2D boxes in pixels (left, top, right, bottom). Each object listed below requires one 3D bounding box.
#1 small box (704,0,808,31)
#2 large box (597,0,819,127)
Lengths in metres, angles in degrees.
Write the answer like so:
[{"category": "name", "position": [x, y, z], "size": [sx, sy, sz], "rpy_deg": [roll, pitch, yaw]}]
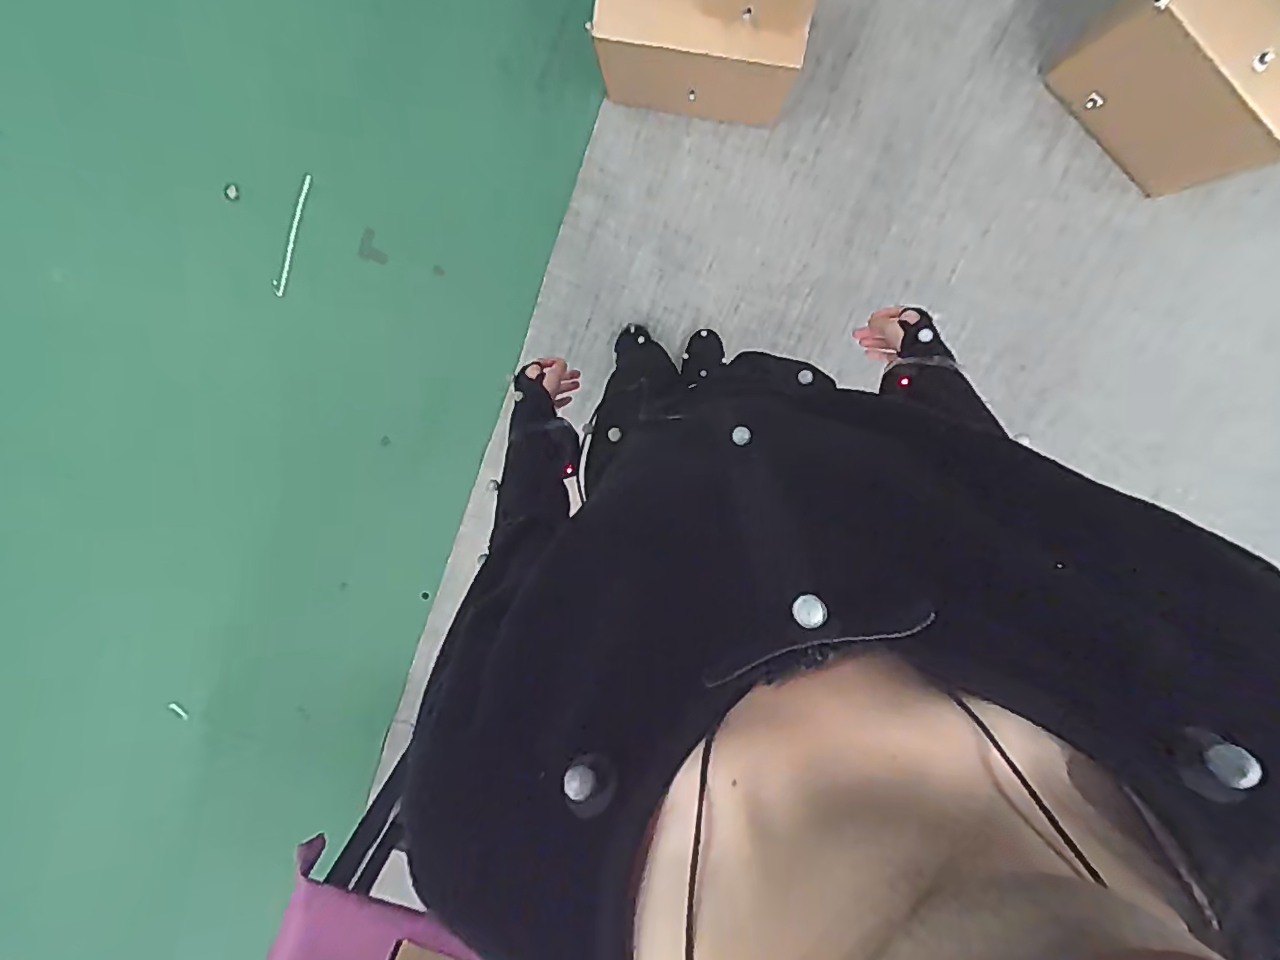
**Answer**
[{"category": "small box", "position": [0.212, -0.883, 0.885], "size": [0.179, 0.176, 0.168], "rpy_deg": [14, 105, 0]}, {"category": "large box", "position": [0.147, -0.976, 1.119], "size": [0.408, 0.320, 0.320], "rpy_deg": [10, 104, 2]}]
